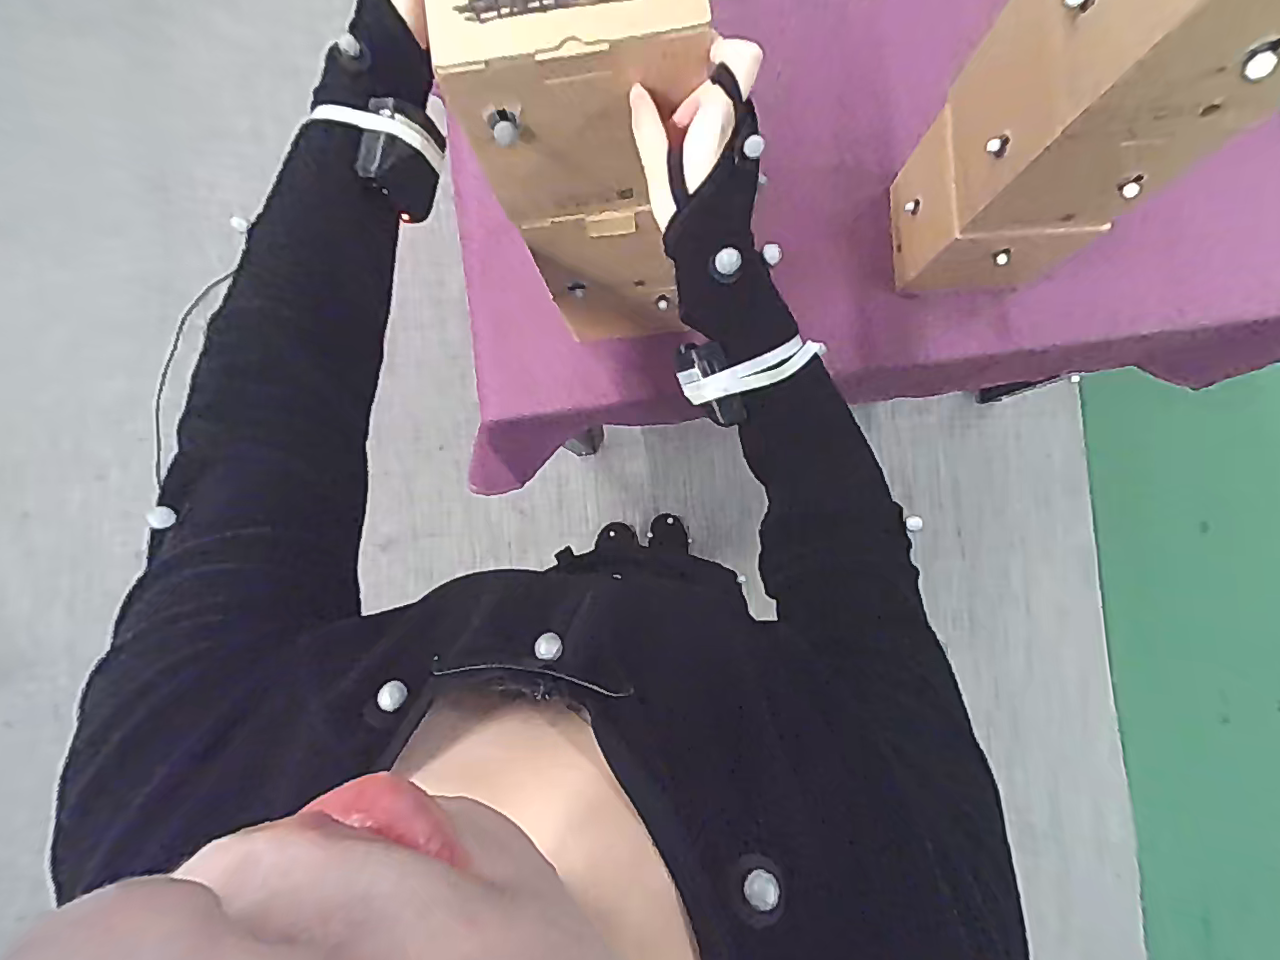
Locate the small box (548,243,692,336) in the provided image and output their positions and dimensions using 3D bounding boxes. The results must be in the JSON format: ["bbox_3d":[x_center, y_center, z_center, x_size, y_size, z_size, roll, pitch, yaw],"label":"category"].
[{"bbox_3d":[-0.025,-0.304,0.729,0.179,0.176,0.168,-6,87,3],"label":"small box"}]

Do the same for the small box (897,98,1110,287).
[{"bbox_3d":[0.448,-0.362,0.699,0.179,0.176,0.168,-1,87,4],"label":"small box"}]

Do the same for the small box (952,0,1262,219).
[{"bbox_3d":[0.437,-0.380,0.537,0.168,0.176,0.179,-1,86,3],"label":"small box"}]

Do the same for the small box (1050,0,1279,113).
[{"bbox_3d":[0.423,-0.389,0.374,0.168,0.176,0.179,-2,87,3],"label":"small box"}]

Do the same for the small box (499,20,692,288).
[{"bbox_3d":[-0.036,-0.317,0.566,0.168,0.176,0.179,-6,86,2],"label":"small box"}]
